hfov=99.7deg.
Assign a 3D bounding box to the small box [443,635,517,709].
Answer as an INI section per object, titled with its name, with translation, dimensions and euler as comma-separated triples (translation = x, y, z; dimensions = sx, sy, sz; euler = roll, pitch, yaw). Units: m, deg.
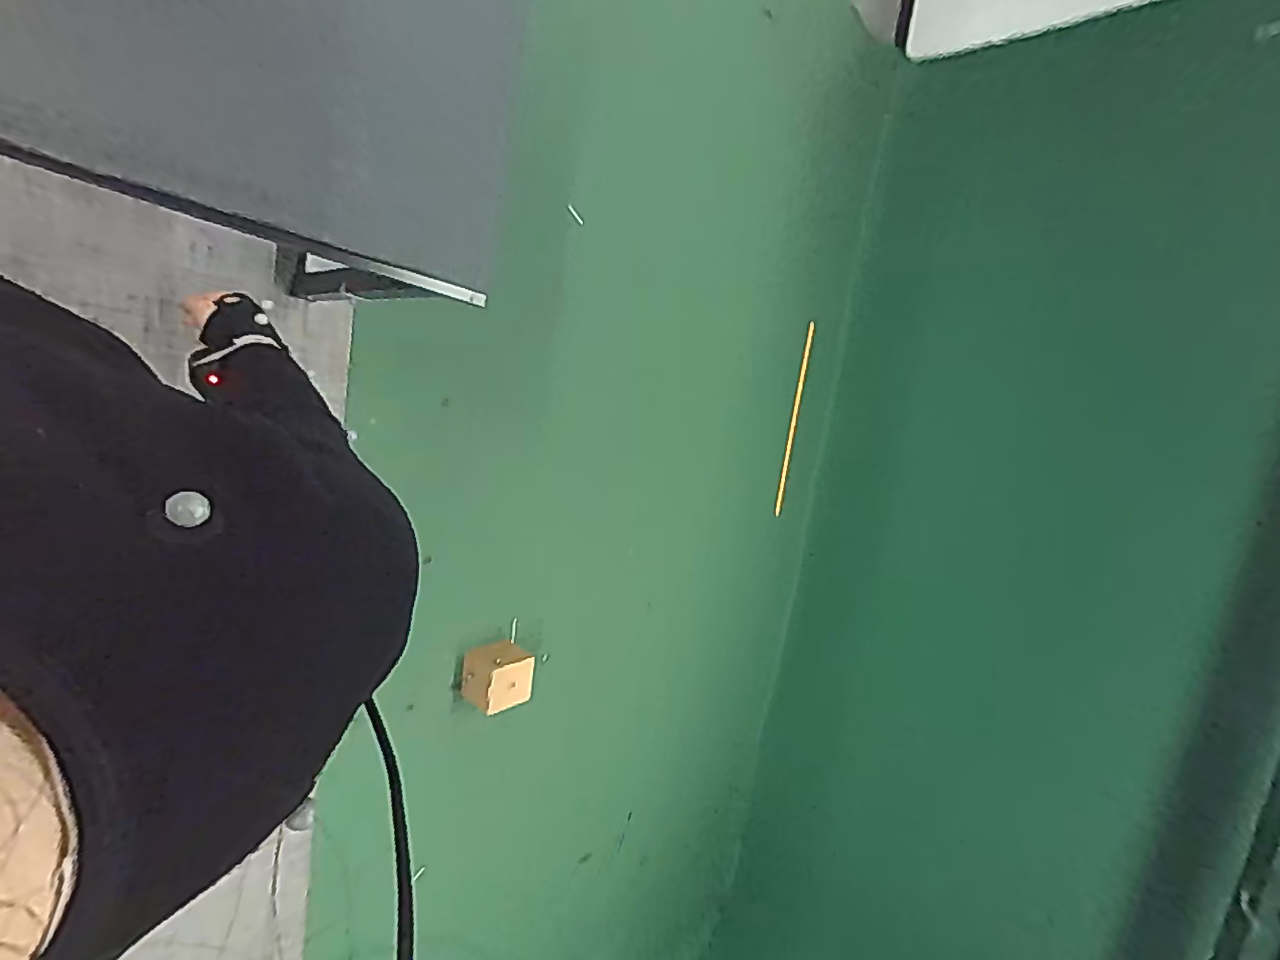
[small box]
translation = -0.563, 0.665, 1.899
dimensions = 0.179, 0.176, 0.168
euler = -2, 104, -51
